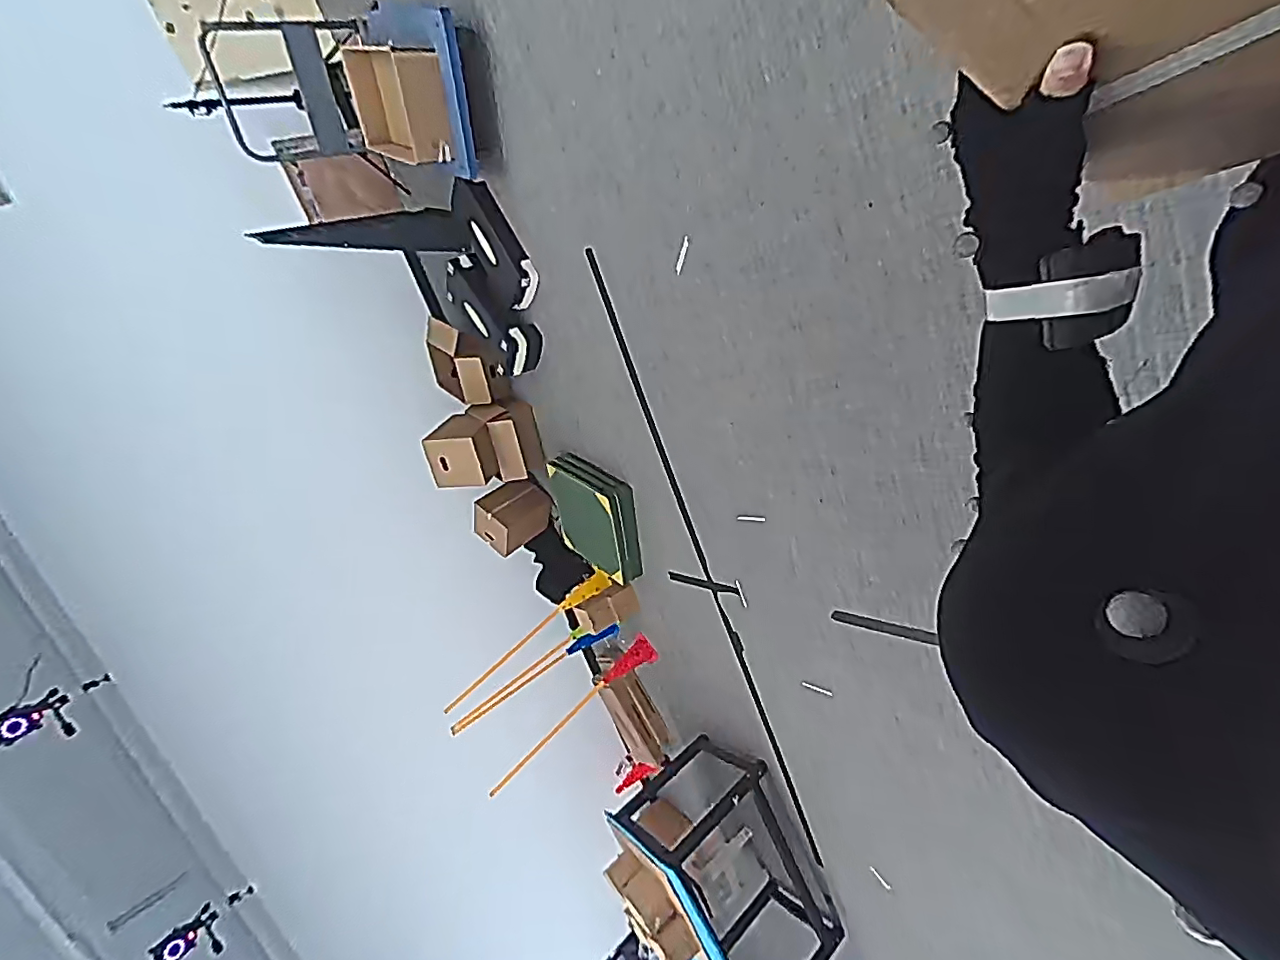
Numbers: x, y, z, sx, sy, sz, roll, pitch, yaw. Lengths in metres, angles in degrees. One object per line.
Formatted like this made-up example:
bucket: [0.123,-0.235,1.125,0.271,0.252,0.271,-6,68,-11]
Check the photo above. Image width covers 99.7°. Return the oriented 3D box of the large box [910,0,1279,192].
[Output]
large box: [0.344,-0.367,0.161,0.408,0.320,0.320,2,91,56]
